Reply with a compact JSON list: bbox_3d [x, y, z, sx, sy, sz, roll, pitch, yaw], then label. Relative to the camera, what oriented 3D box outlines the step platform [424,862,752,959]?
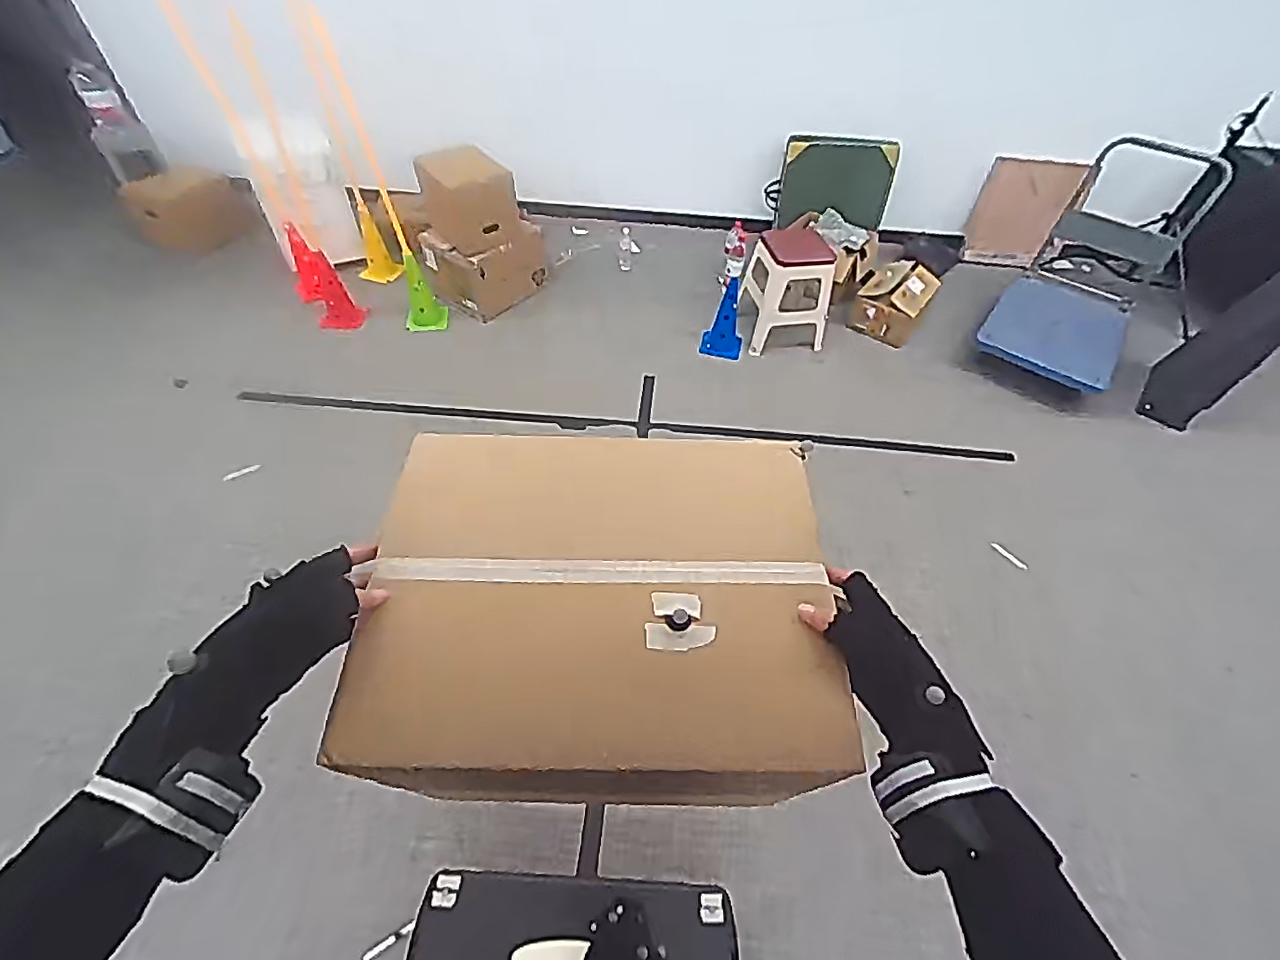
[{"bbox_3d":[-0.106,1.014,1.160,0.684,0.204,0.286,5,50,-1],"label":"step platform"}]

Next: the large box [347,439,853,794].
[{"bbox_3d":[-0.034,0.169,0.624,0.408,0.320,0.320,2,56,-1],"label":"large box"}]
